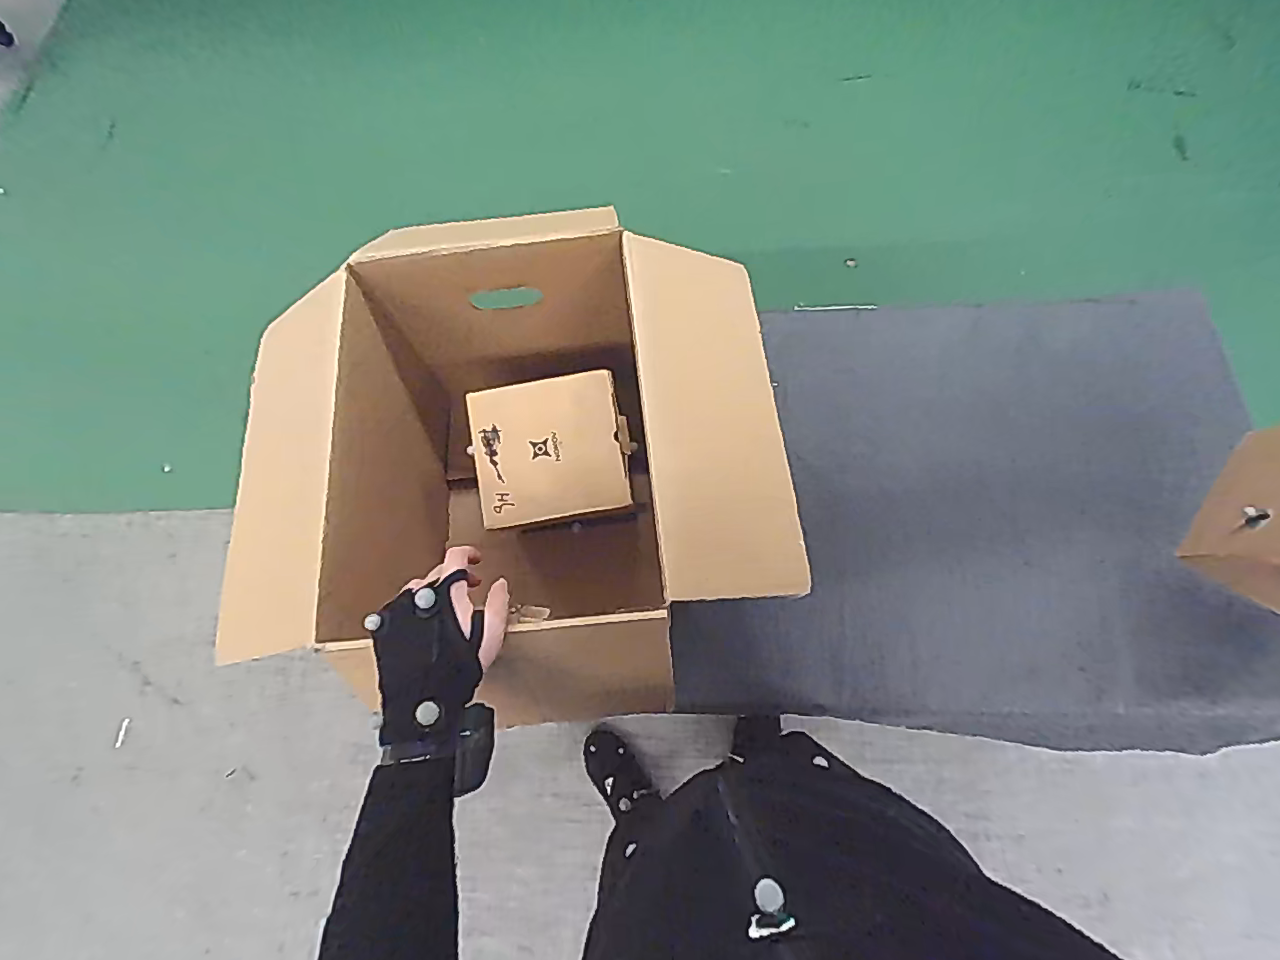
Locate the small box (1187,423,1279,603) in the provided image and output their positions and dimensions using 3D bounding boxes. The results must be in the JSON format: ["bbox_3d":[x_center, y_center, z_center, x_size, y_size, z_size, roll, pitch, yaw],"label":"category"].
[{"bbox_3d":[0.714,0.042,0.531,0.168,0.176,0.179,32,87,14],"label":"small box"}]
